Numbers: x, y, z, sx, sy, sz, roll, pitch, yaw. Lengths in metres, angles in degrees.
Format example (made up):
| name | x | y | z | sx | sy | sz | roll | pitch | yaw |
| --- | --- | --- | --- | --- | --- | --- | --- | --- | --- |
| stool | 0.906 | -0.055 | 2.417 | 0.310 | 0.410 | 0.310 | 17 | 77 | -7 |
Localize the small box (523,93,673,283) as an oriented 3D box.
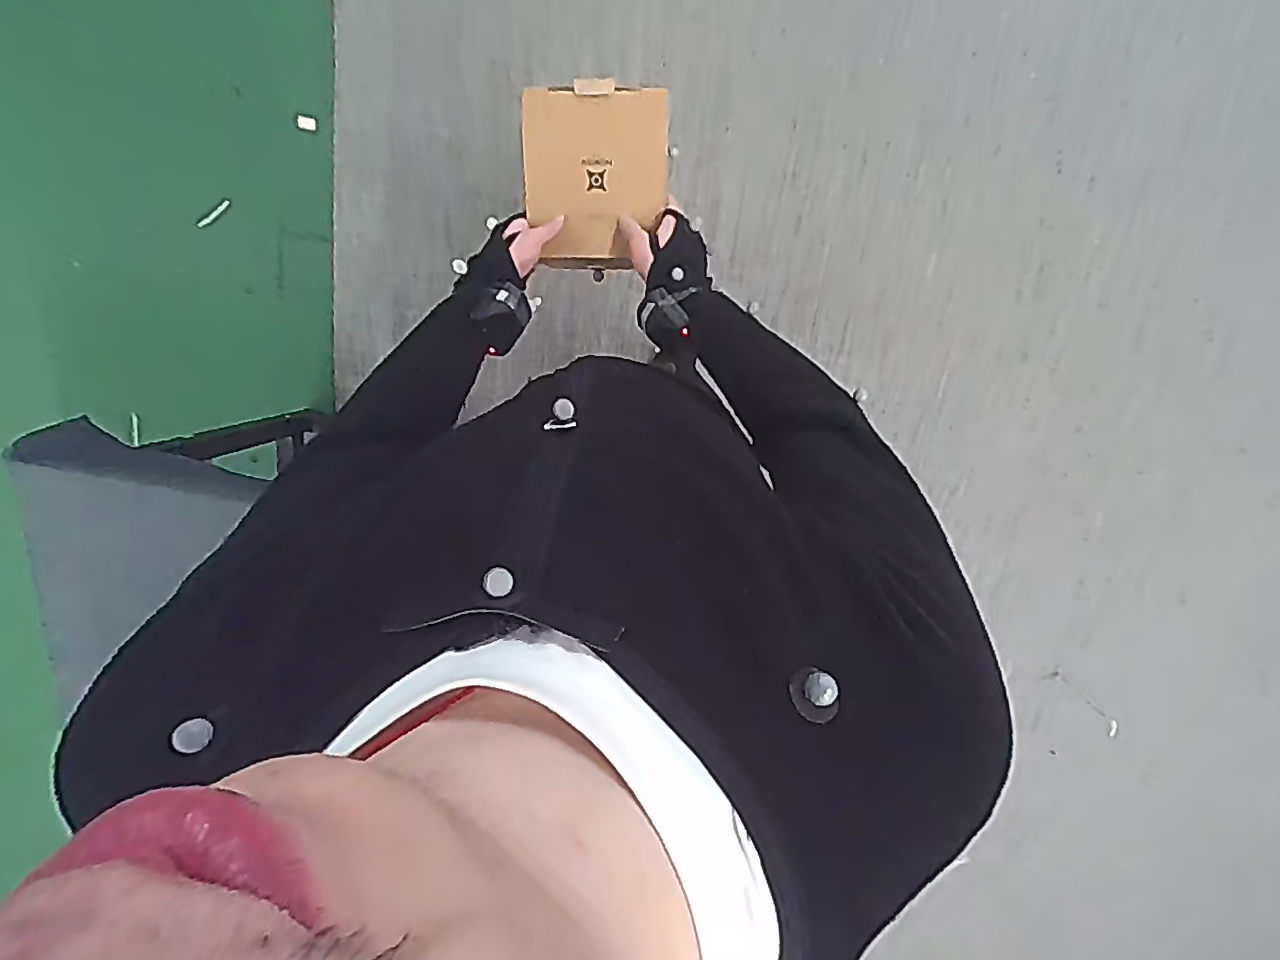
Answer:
| name | x | y | z | sx | sy | sz | roll | pitch | yaw |
| --- | --- | --- | --- | --- | --- | --- | --- | --- | --- |
| small box | -0.048 | -0.353 | 0.684 | 0.168 | 0.176 | 0.179 | 3 | 106 | 2 |
